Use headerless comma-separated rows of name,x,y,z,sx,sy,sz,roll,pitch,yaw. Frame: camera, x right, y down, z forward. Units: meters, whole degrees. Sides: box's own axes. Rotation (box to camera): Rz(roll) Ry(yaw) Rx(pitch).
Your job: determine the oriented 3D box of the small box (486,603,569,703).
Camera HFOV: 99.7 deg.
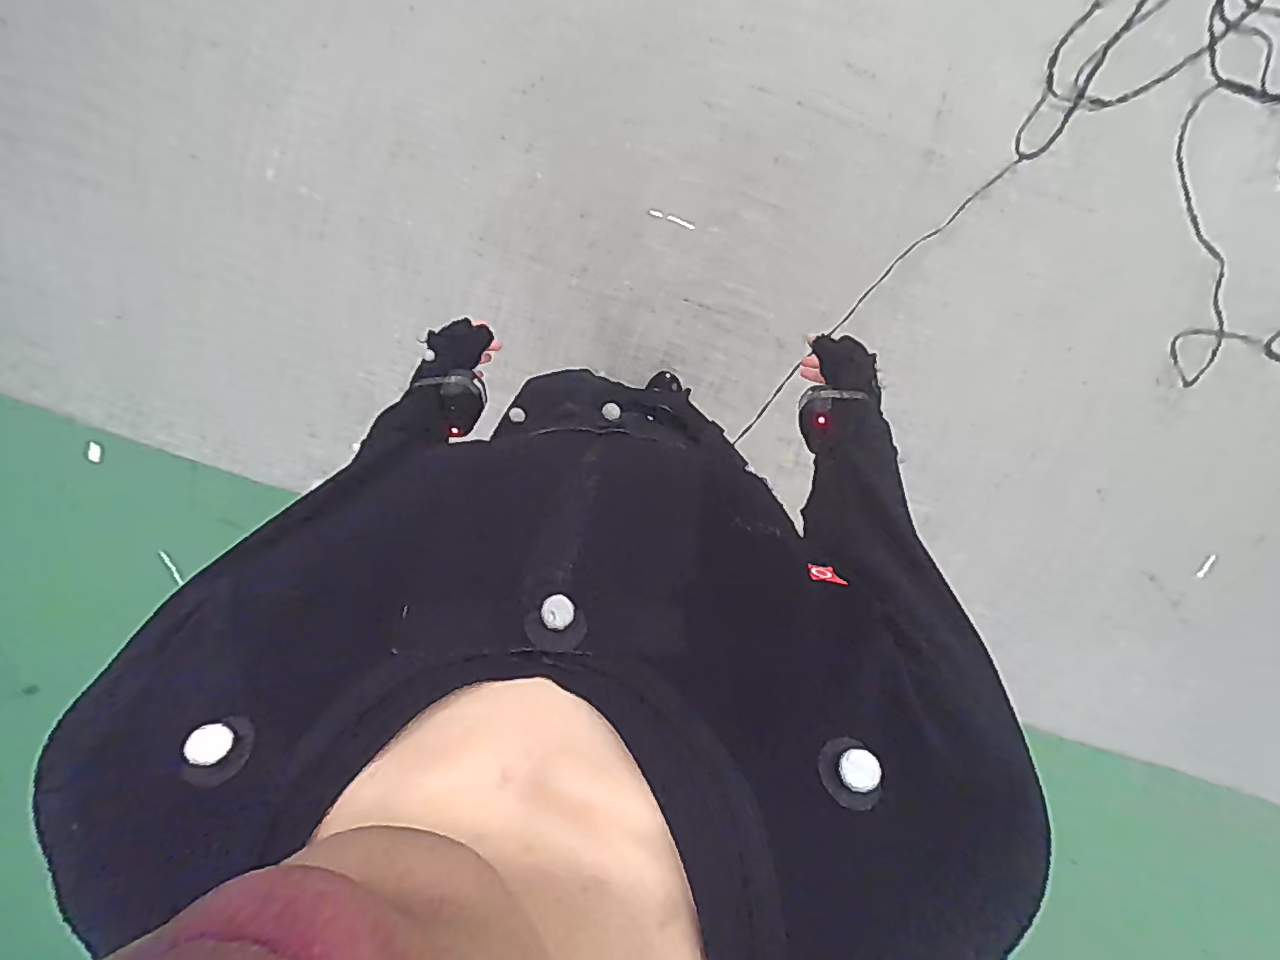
small box,-0.301,0.468,1.484,0.168,0.176,0.179,18,102,-4
